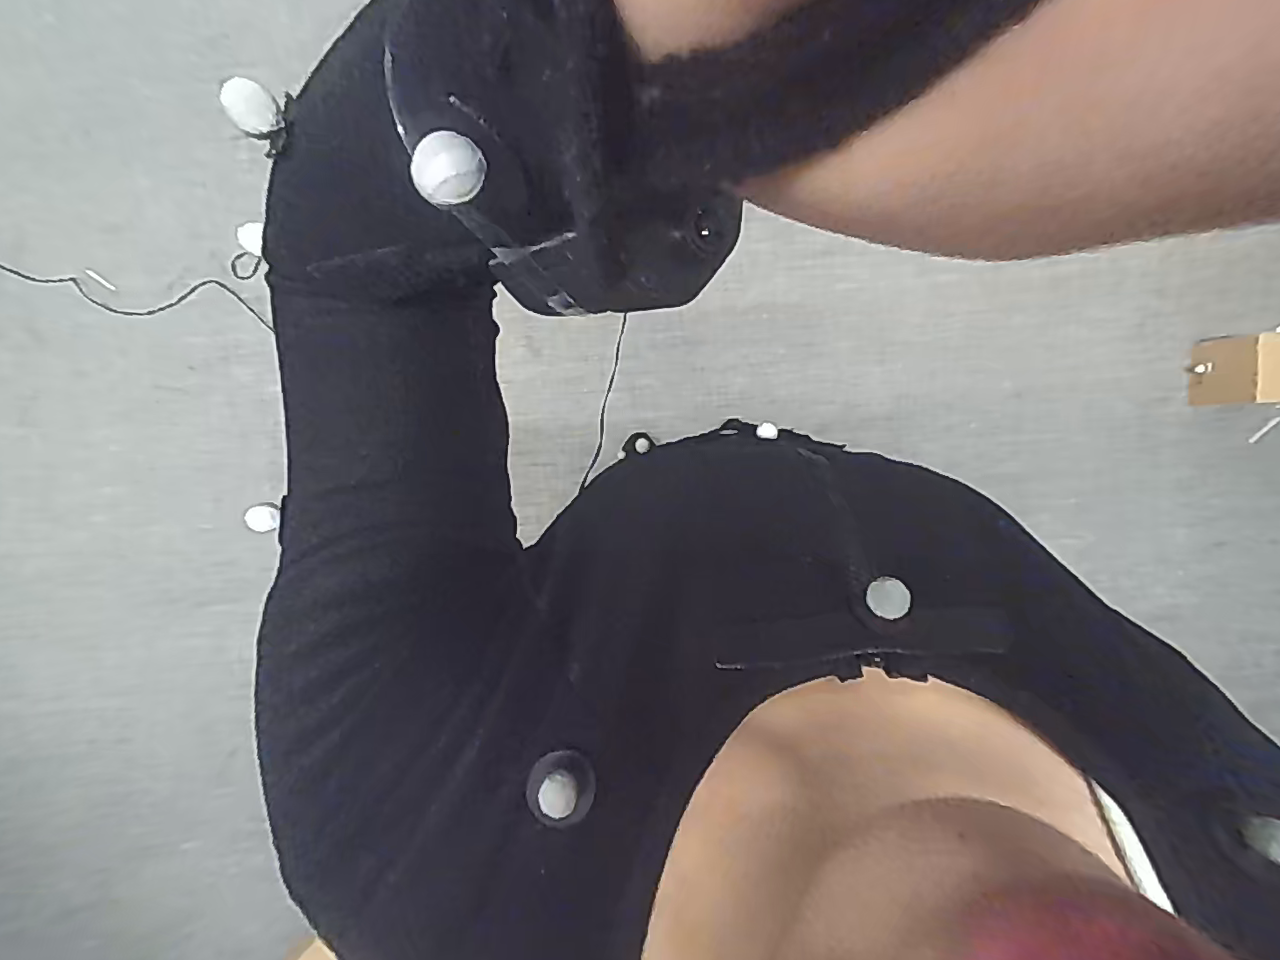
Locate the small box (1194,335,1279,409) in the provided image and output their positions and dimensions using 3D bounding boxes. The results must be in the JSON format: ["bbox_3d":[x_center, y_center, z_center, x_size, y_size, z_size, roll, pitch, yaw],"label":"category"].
[{"bbox_3d":[1.535,-0.265,1.330,0.179,0.176,0.168,-4,94,4],"label":"small box"}]
